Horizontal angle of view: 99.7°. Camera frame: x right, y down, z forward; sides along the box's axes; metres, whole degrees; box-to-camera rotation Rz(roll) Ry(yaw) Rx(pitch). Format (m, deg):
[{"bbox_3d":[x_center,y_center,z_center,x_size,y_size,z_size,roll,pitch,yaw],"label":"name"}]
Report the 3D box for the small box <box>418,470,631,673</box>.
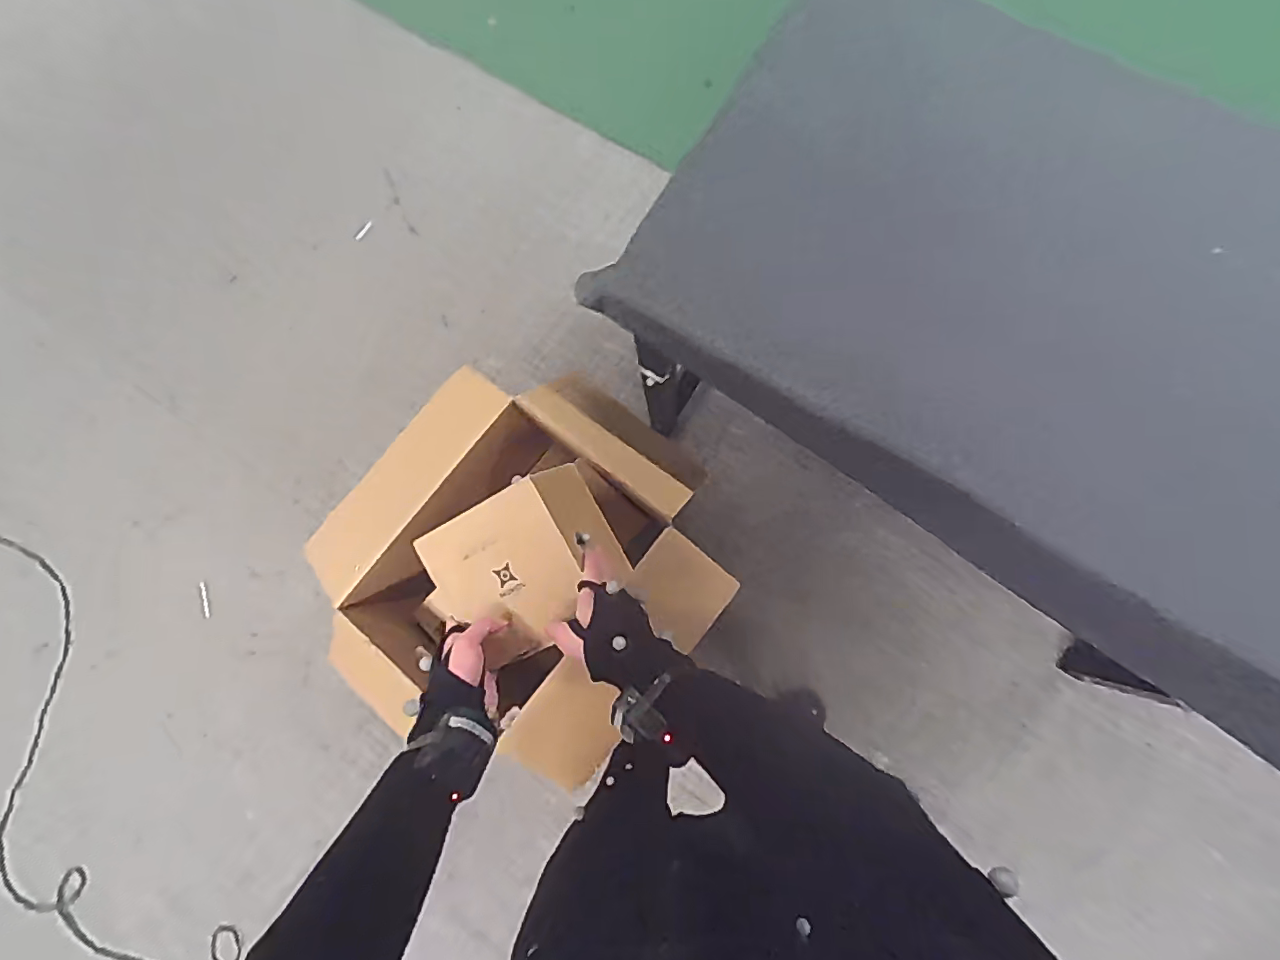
[{"bbox_3d":[-0.129,0.102,0.677,0.168,0.176,0.179,-28,90,12],"label":"small box"}]
